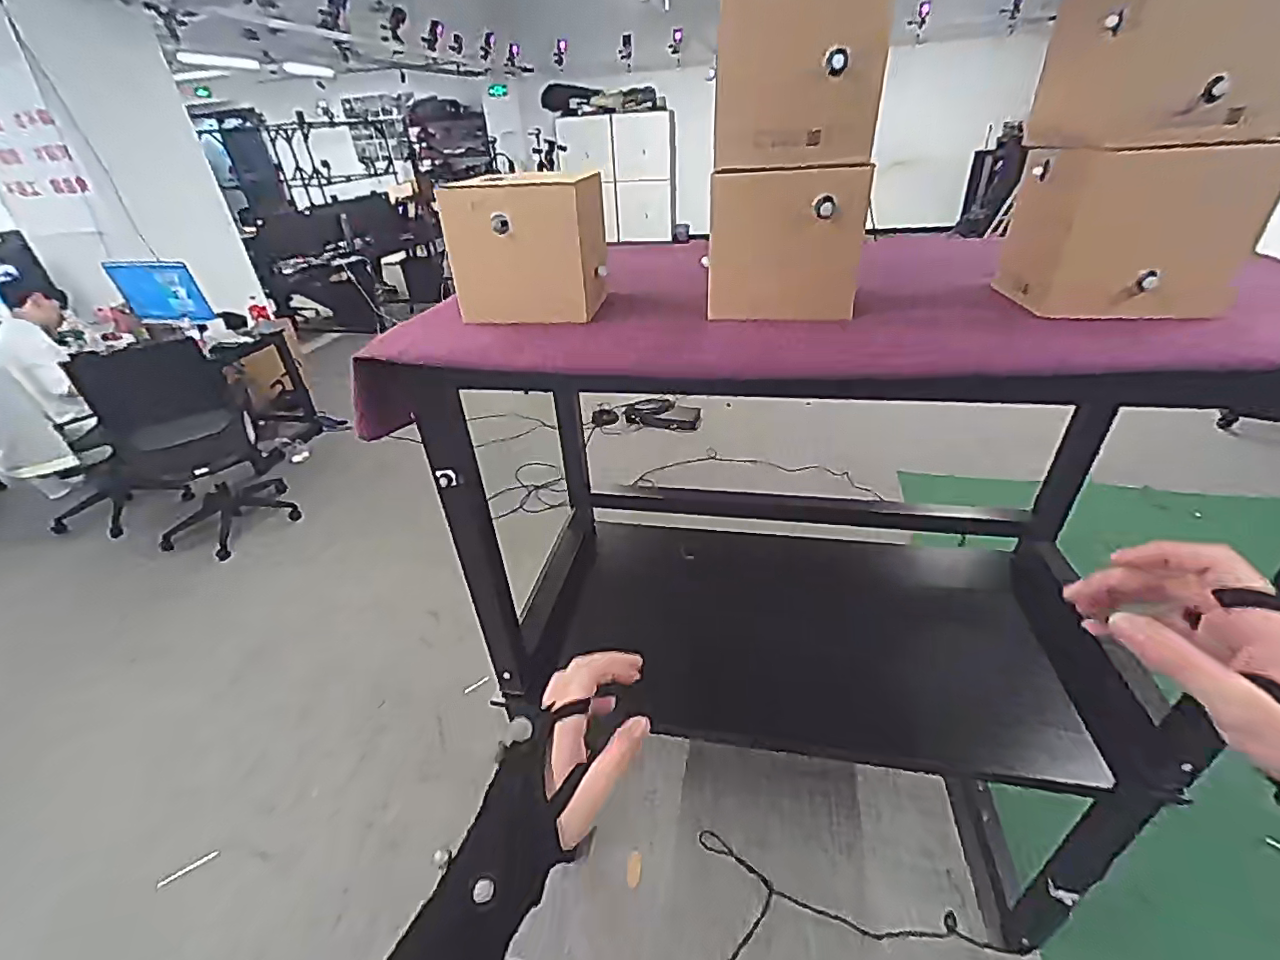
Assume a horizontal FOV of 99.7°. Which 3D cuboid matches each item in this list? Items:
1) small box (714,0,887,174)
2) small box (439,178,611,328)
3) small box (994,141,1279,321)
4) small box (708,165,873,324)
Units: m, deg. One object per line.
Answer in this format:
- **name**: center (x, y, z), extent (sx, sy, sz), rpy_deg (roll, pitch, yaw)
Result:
- **small box**: center (0.173, -0.446, 0.615), extent (0.168, 0.176, 0.179), rpy_deg (4, 32, 11)
- **small box**: center (-0.144, -0.315, 0.749), extent (0.179, 0.176, 0.168), rpy_deg (2, 33, 8)
- **small box**: center (0.548, -0.285, 0.619), extent (0.179, 0.176, 0.168), rpy_deg (3, 31, 11)
- **small box**: center (0.183, -0.304, 0.694), extent (0.179, 0.176, 0.168), rpy_deg (3, 32, 12)
